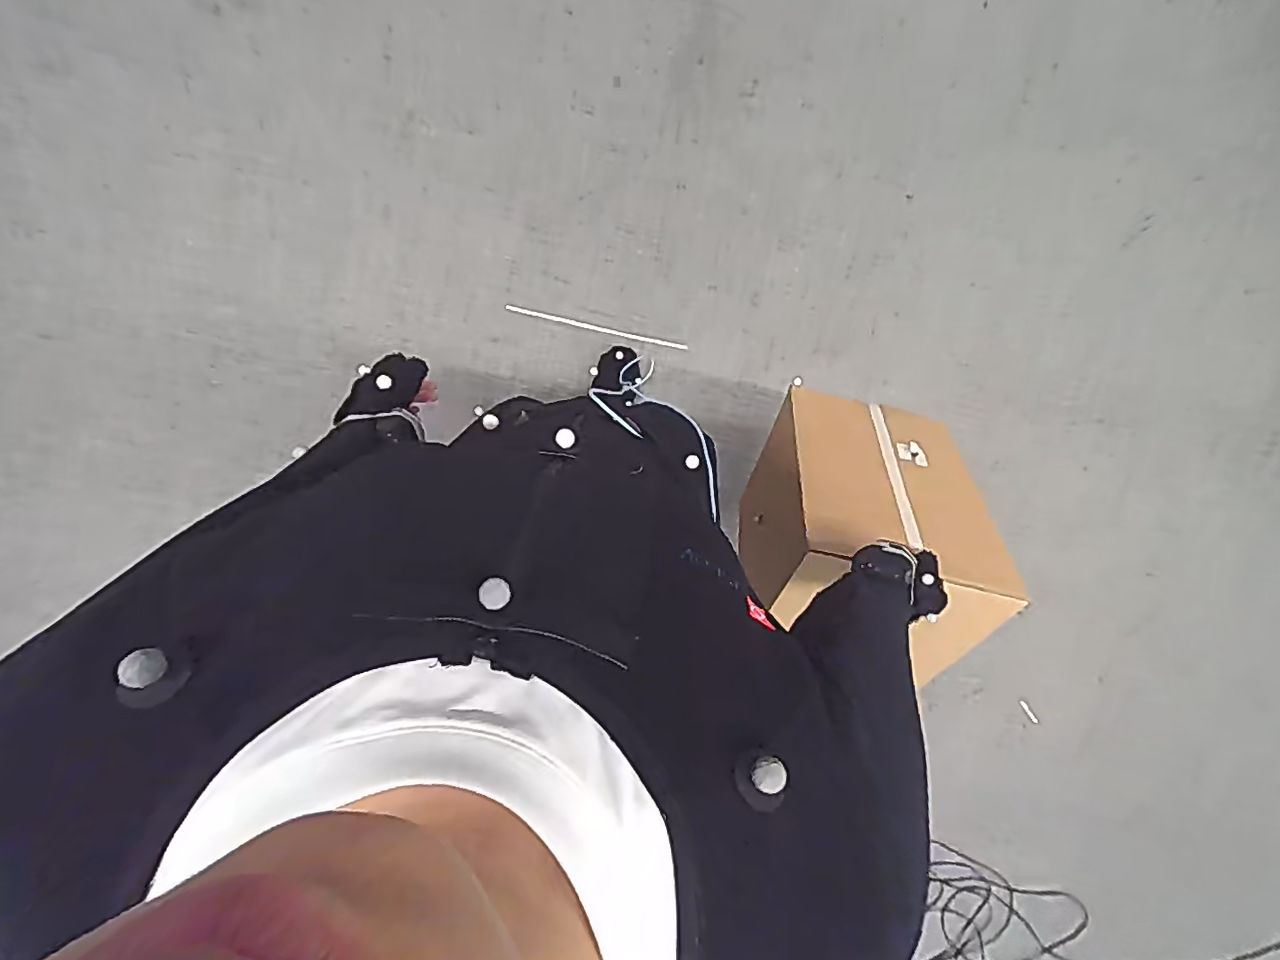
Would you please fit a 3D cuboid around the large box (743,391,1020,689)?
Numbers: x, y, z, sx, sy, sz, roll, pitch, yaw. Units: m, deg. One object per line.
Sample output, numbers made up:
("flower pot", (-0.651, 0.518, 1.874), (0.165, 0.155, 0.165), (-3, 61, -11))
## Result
("large box", (0.378, 0.103, 0.984), (0.320, 0.408, 0.320), (14, 133, -2))
